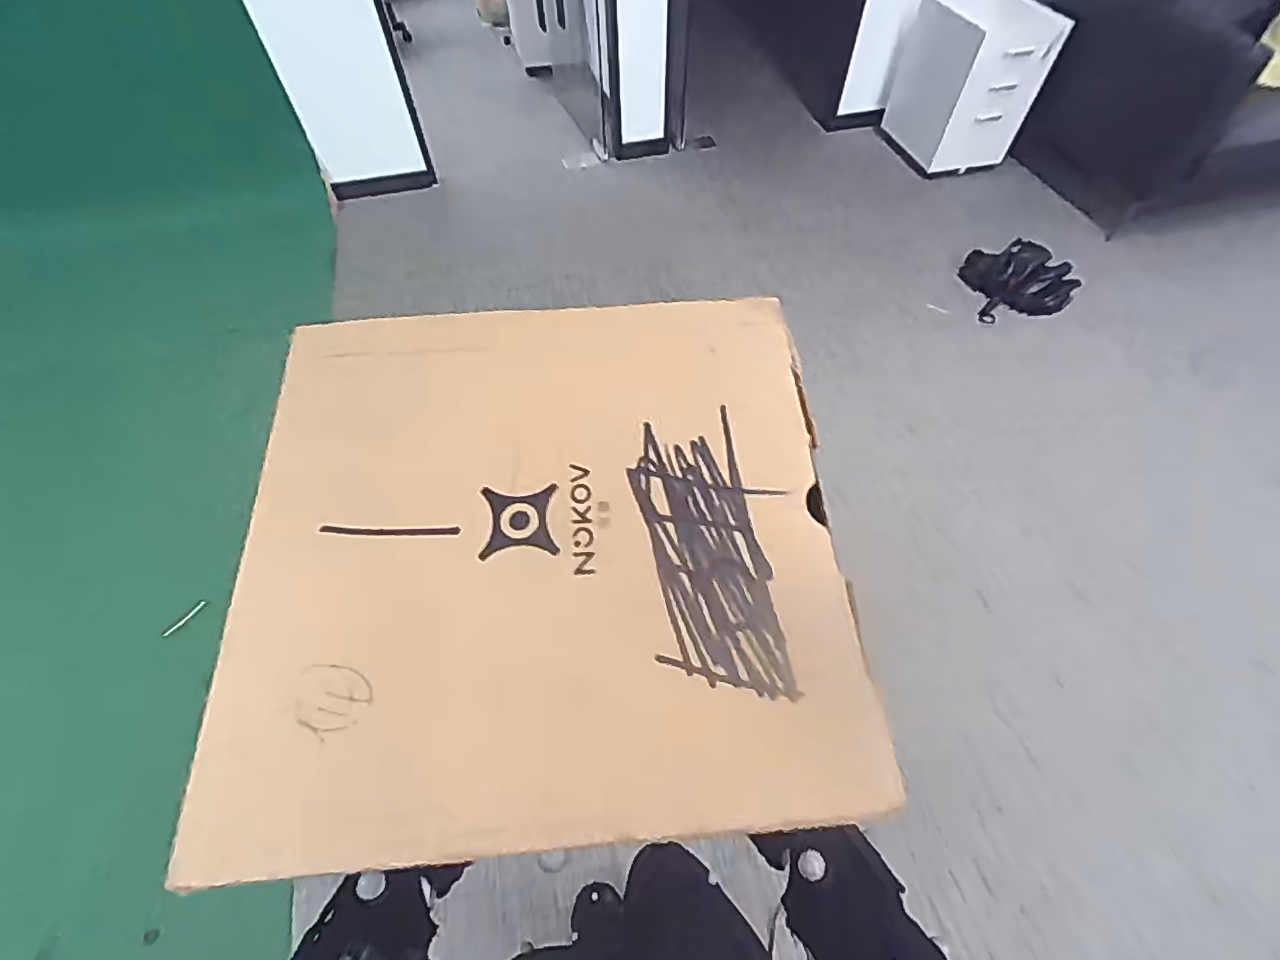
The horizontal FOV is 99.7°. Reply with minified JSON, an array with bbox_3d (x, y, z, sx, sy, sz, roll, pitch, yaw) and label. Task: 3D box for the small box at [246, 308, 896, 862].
[{"bbox_3d":[-0.027,0.046,0.247,0.179,0.176,0.168,-6,65,-6],"label":"small box"}]
